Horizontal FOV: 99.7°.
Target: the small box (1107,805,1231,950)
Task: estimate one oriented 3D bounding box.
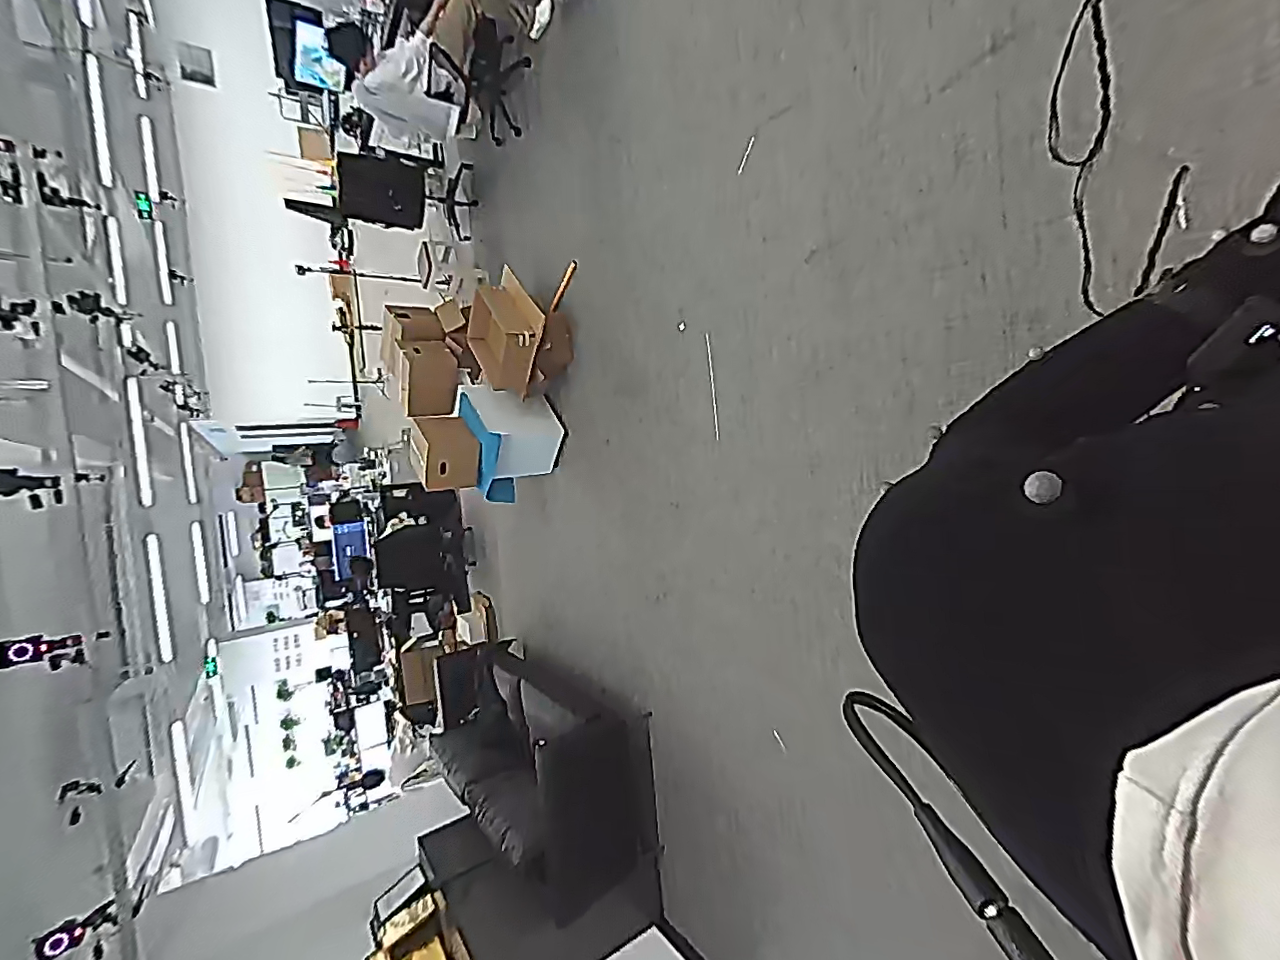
[{"bbox_3d":[1.208,0.890,1.236,0.168,0.176,0.179,12,104,56],"label":"small box"}]
